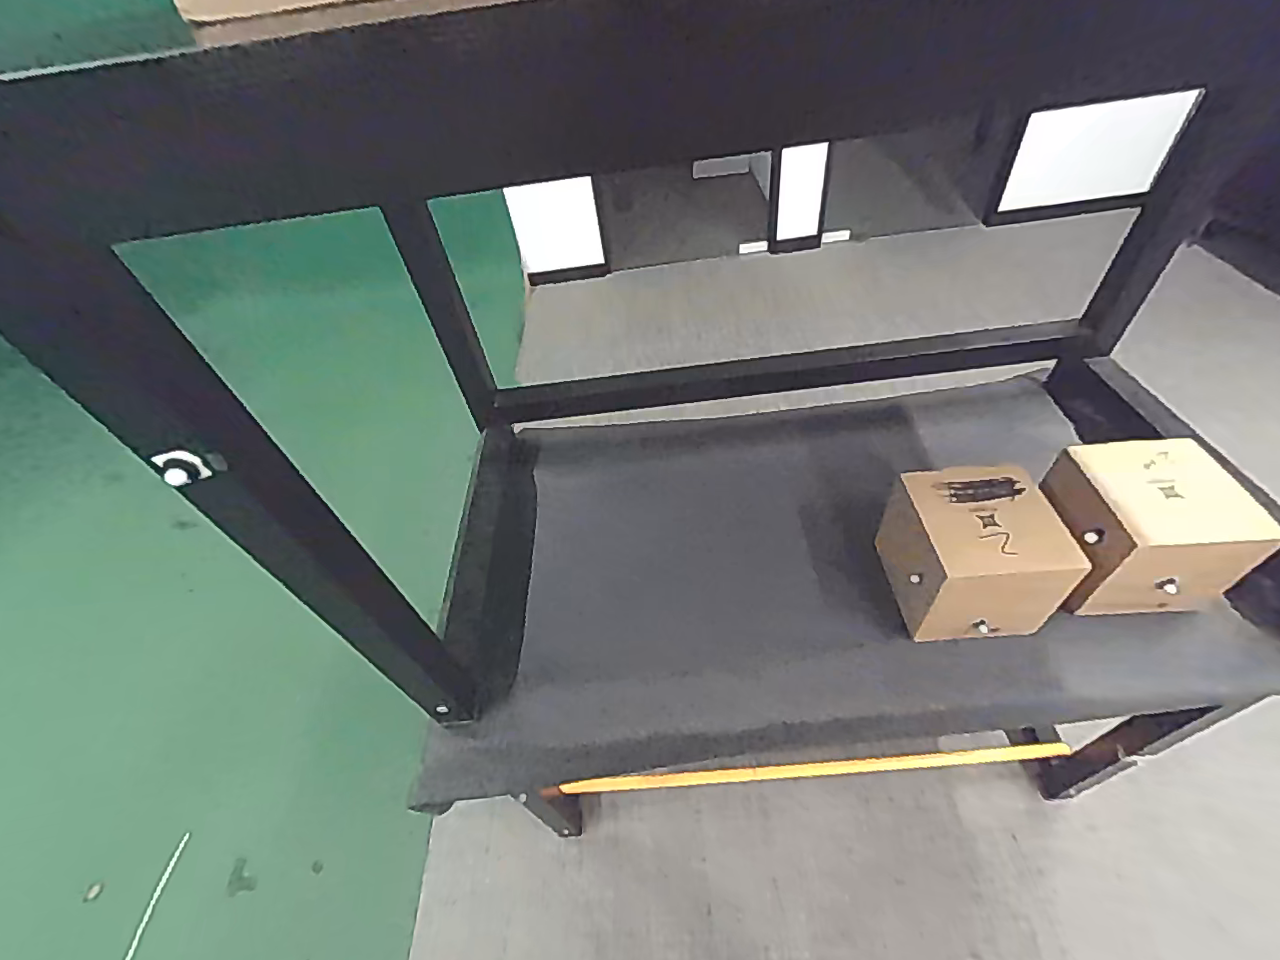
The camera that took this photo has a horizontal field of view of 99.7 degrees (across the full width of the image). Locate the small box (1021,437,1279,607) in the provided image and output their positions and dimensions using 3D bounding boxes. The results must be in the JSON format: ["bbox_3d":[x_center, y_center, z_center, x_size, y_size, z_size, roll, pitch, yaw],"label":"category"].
[{"bbox_3d":[0.680,0.065,0.751,0.168,0.176,0.179,-4,47,5],"label":"small box"}]
